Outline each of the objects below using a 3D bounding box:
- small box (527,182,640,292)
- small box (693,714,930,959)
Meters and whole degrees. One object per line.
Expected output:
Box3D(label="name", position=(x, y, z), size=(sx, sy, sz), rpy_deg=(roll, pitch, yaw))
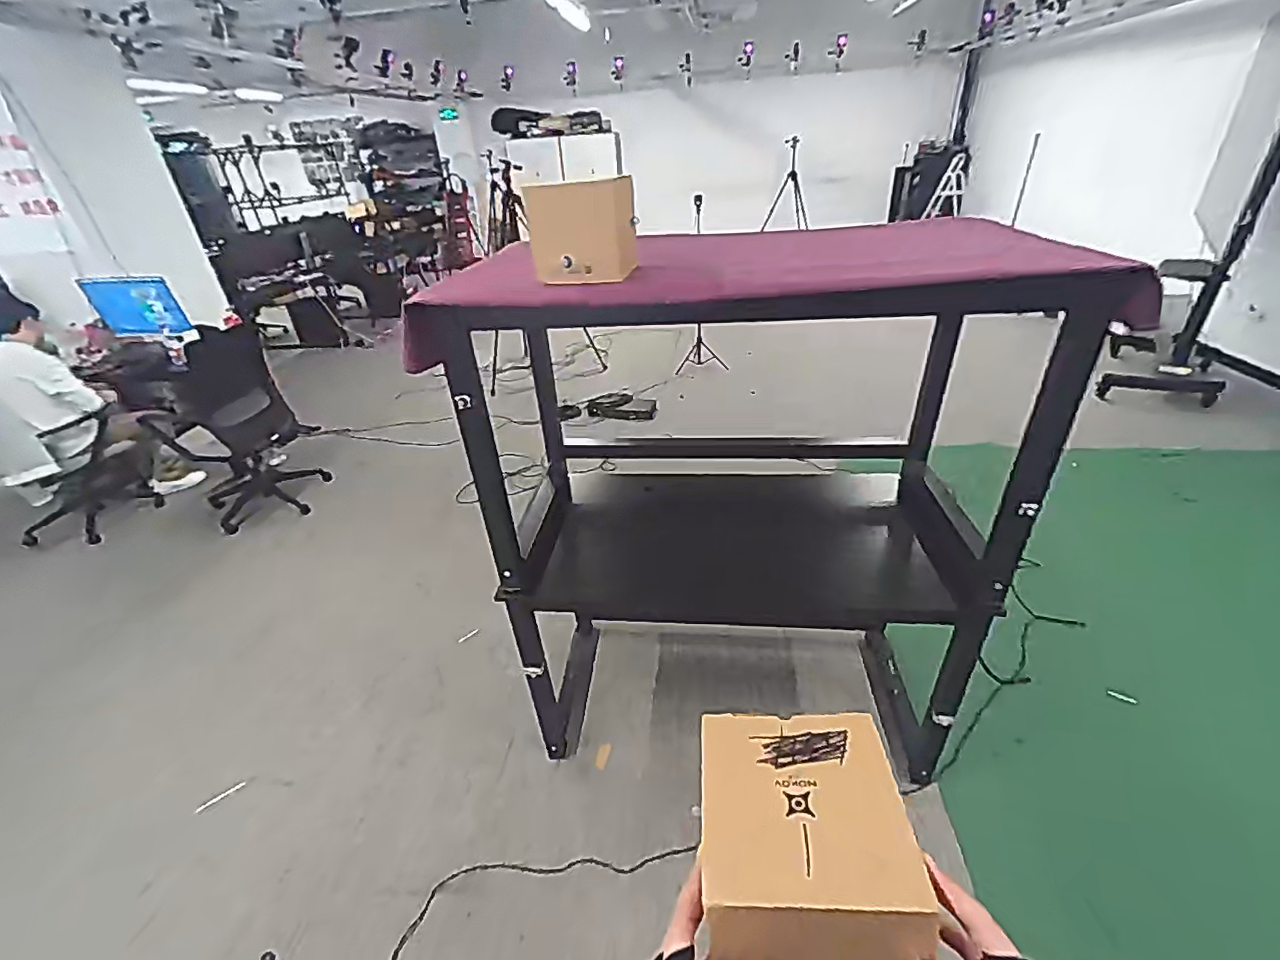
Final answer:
Box3D(label="small box", position=(-0.096, -0.460, 1.022), size=(0.168, 0.176, 0.179), rpy_deg=(2, 31, 11))
Box3D(label="small box", position=(0.140, 0.341, 0.489), size=(0.168, 0.176, 0.179), rpy_deg=(-5, 24, 10))
